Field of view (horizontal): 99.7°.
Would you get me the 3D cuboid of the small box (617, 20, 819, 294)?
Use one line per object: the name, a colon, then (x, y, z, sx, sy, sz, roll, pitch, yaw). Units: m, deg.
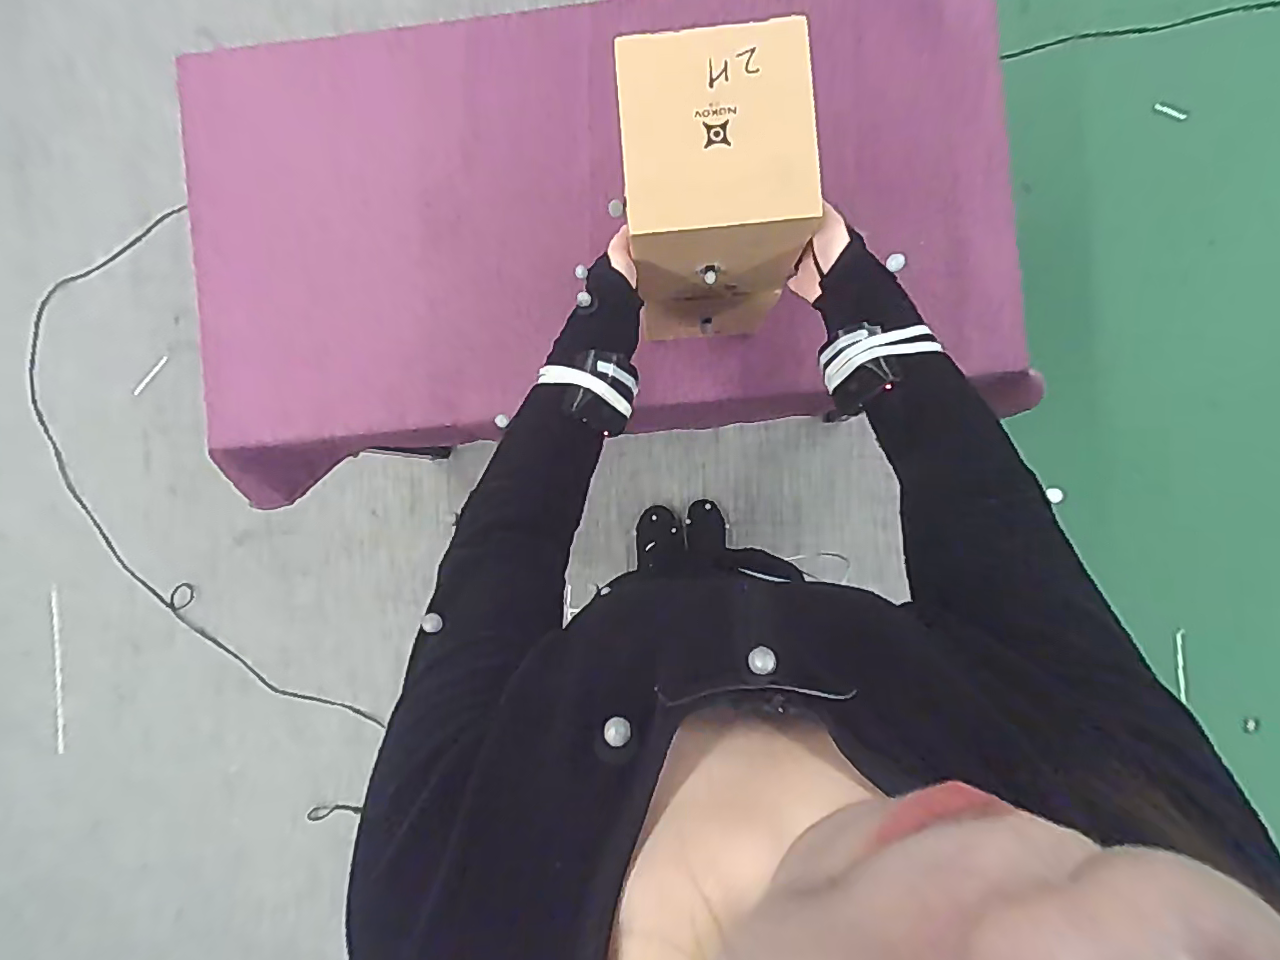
small box: (0.070, -0.297, 0.540, 0.168, 0.176, 0.179, -4, 89, 2)

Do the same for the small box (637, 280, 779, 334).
small box: (0.079, -0.295, 0.705, 0.168, 0.176, 0.179, -4, 90, 2)
